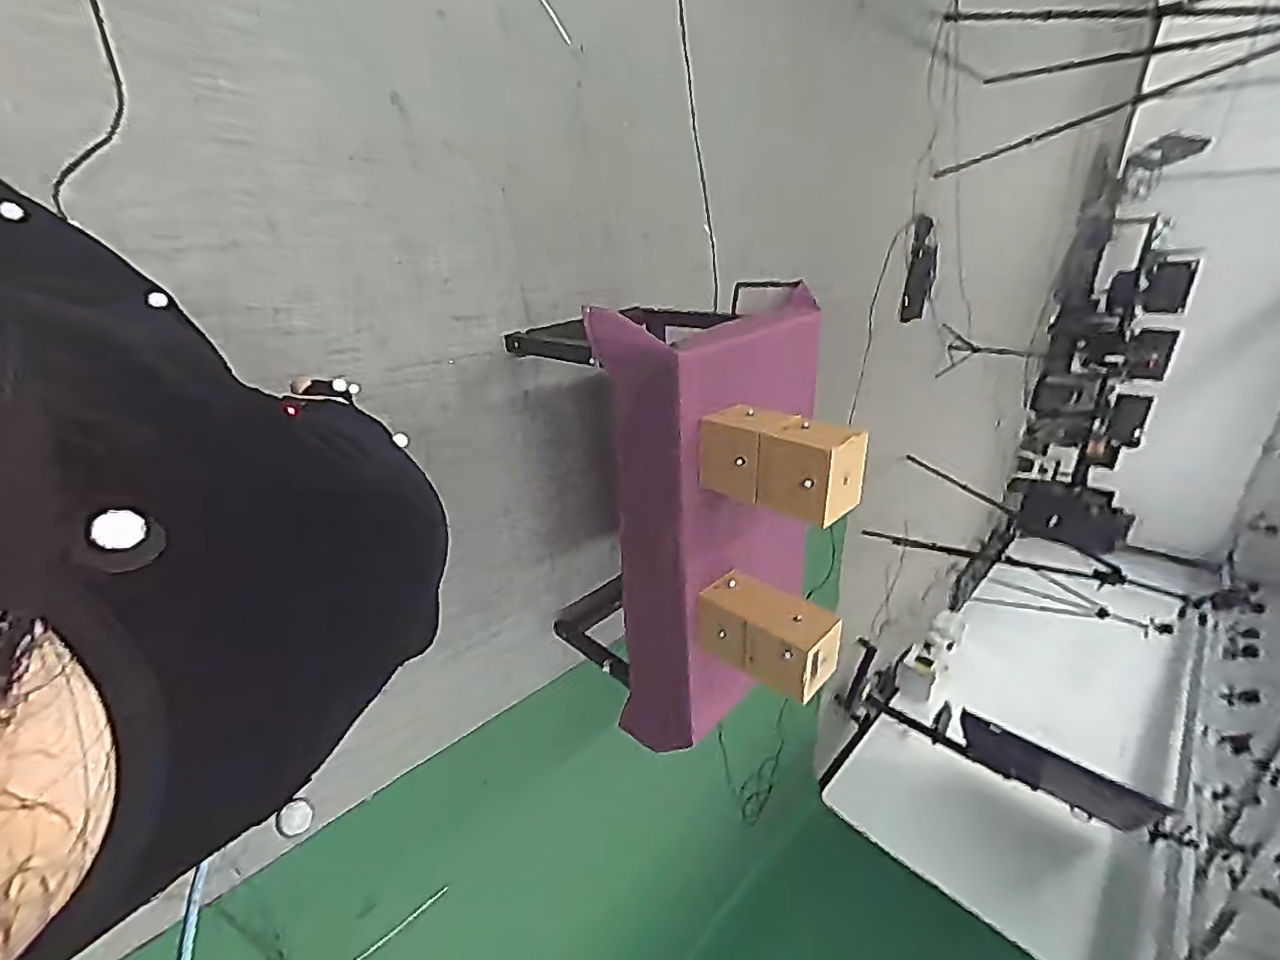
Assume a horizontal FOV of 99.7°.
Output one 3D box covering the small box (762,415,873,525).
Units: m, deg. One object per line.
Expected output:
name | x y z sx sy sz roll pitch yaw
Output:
small box | 0.379 -0.030 1.173 0.168 0.176 0.179 -23 119 -39

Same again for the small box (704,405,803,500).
small box | 0.265 -0.075 1.281 0.168 0.176 0.179 -22 120 -39

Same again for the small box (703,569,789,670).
small box | 0.283 0.372 1.471 0.168 0.176 0.179 -23 119 -39
